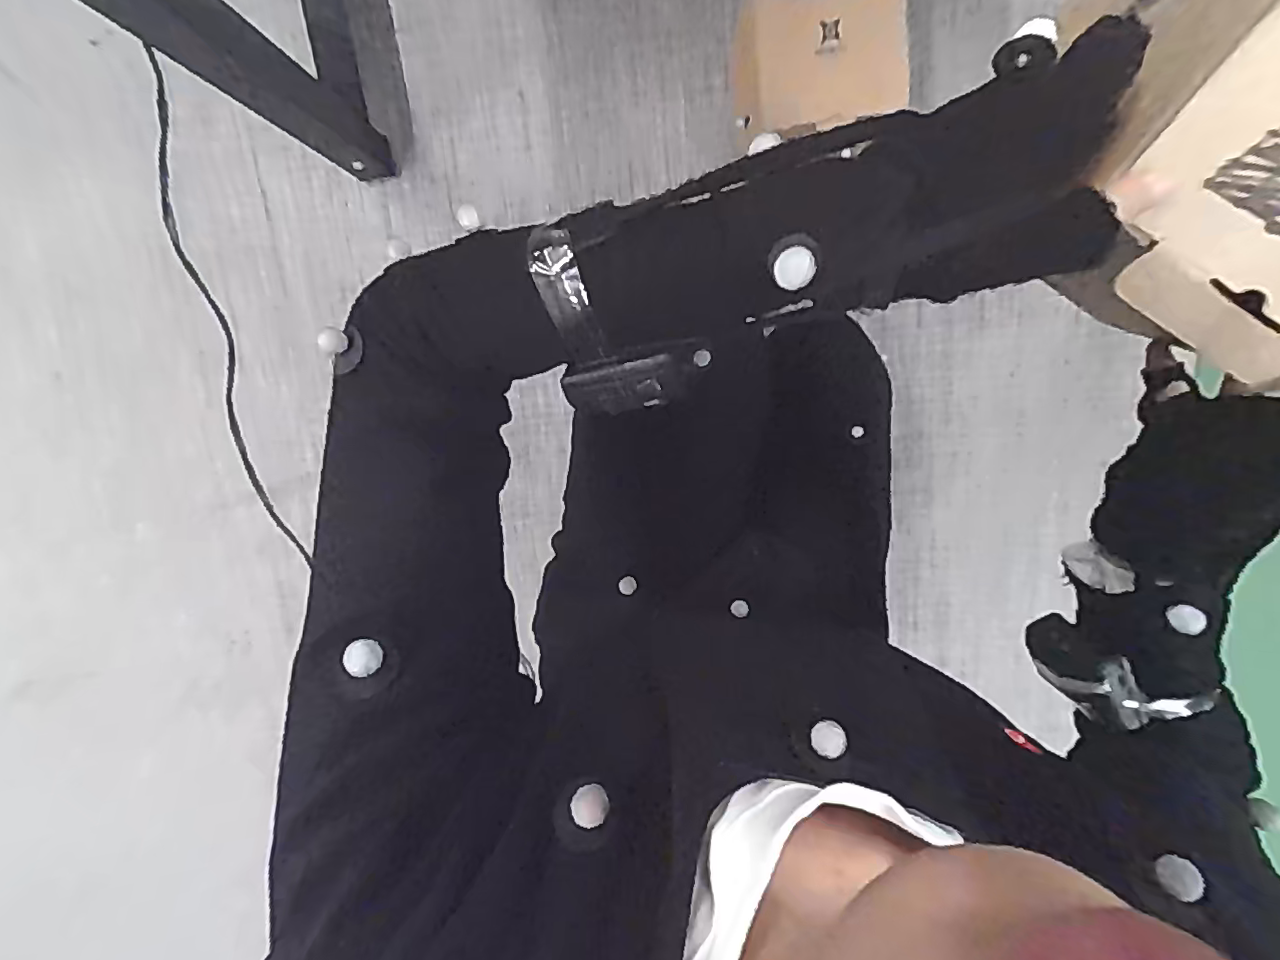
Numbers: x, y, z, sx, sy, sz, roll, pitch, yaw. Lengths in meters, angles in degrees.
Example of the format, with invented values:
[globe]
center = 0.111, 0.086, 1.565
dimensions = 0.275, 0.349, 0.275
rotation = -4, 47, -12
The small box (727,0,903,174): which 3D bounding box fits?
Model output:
[small box]
center = 0.206, -0.504, 0.670
dimensions = 0.168, 0.176, 0.179
rotation = -7, 99, 3
